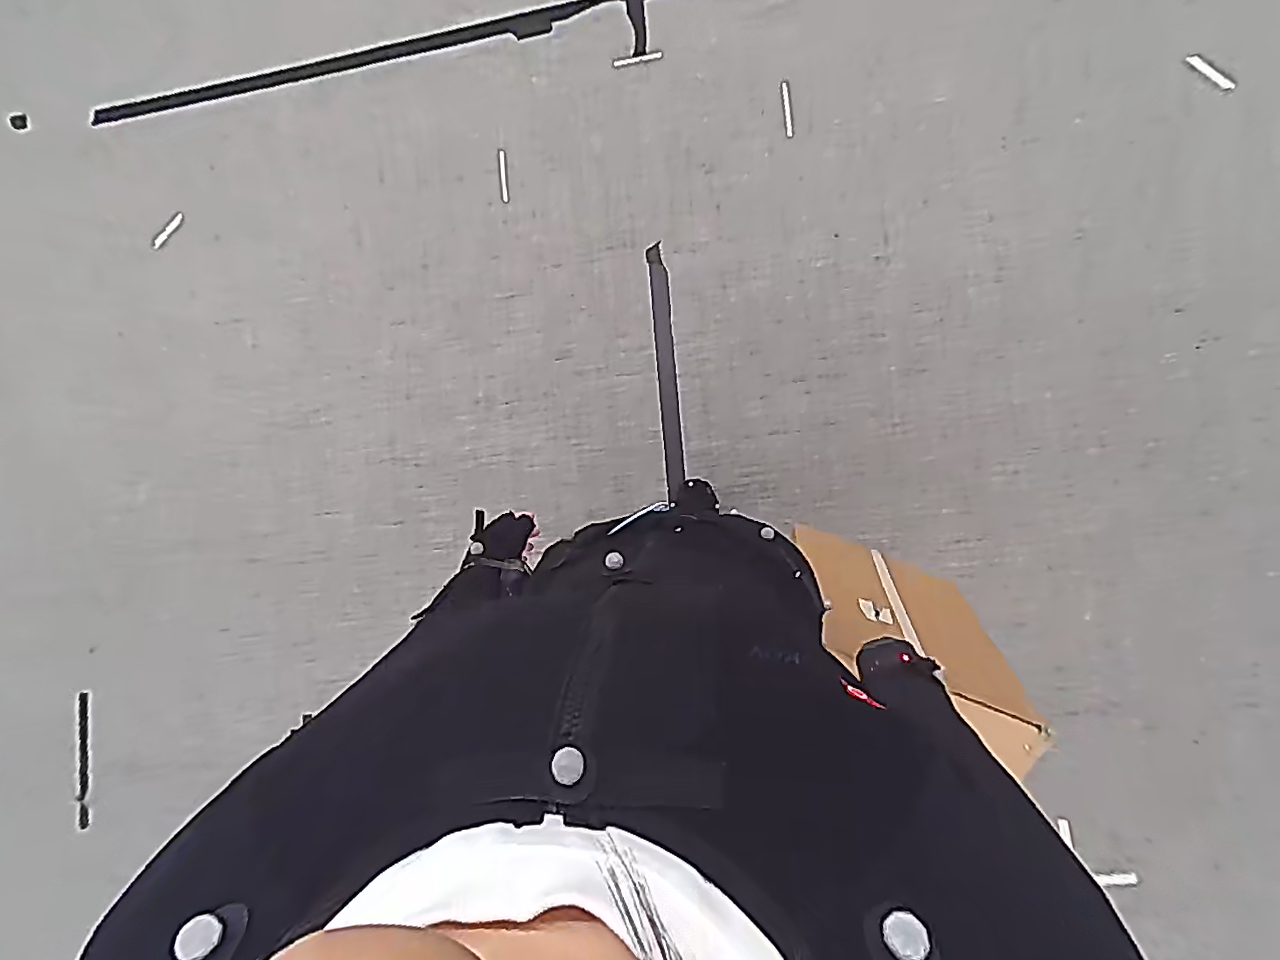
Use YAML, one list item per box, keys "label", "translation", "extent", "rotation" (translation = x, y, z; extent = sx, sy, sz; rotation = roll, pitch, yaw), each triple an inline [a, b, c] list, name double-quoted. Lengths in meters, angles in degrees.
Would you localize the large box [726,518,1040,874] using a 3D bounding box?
- label: "large box"
  translation: [0.353, 0.321, 0.912]
  extent: [0.320, 0.408, 0.320]
  rotation: [19, 113, 8]
